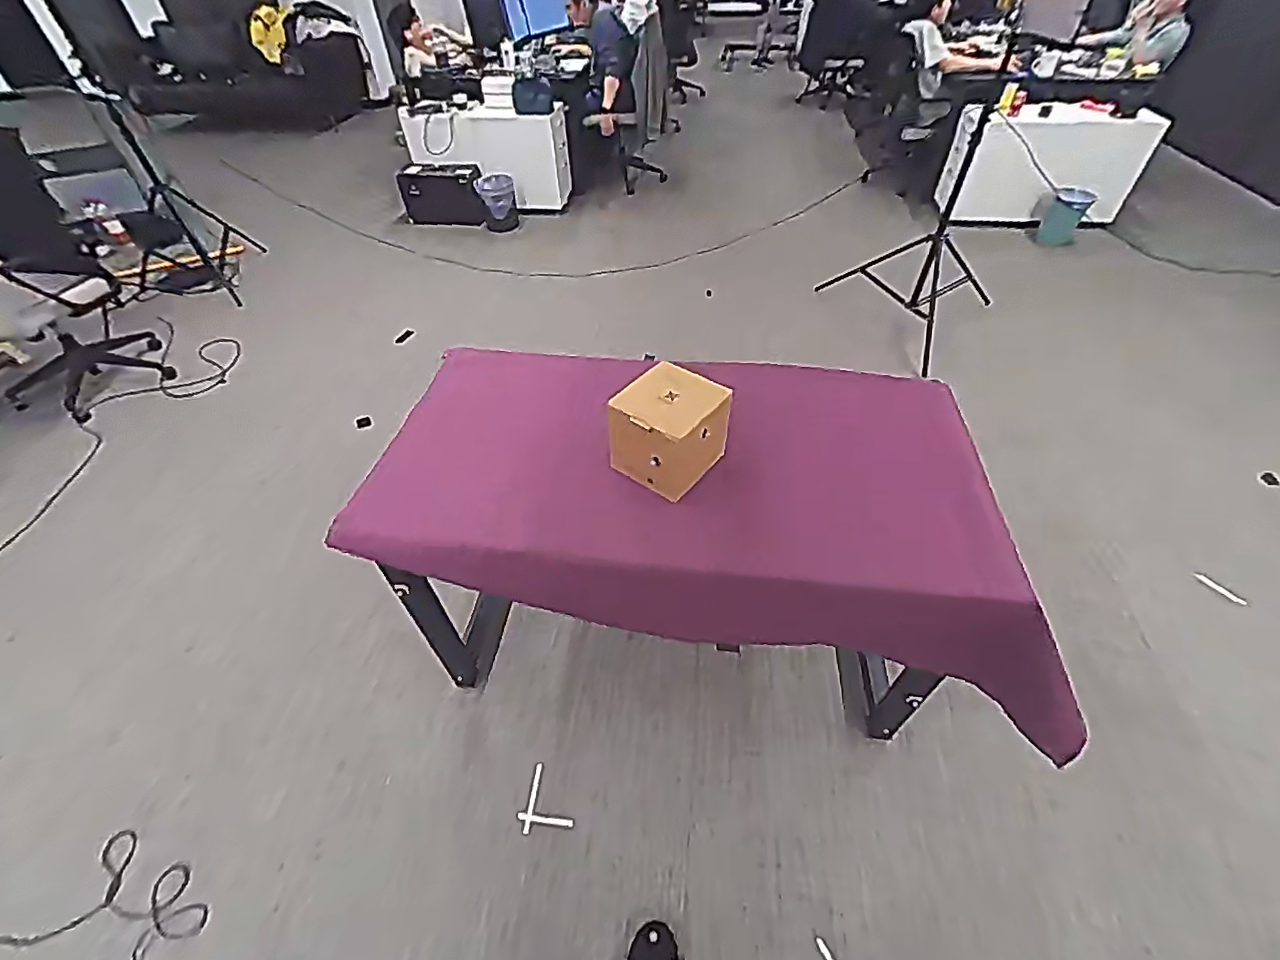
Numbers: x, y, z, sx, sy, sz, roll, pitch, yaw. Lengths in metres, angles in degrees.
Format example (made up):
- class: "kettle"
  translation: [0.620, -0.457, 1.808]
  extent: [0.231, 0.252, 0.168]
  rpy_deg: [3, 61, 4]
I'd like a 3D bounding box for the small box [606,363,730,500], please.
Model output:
- class: "small box"
  translation: [0.056, -0.093, 1.053]
  extent: [0.168, 0.176, 0.179]
  rpy_deg: [29, 53, 26]
